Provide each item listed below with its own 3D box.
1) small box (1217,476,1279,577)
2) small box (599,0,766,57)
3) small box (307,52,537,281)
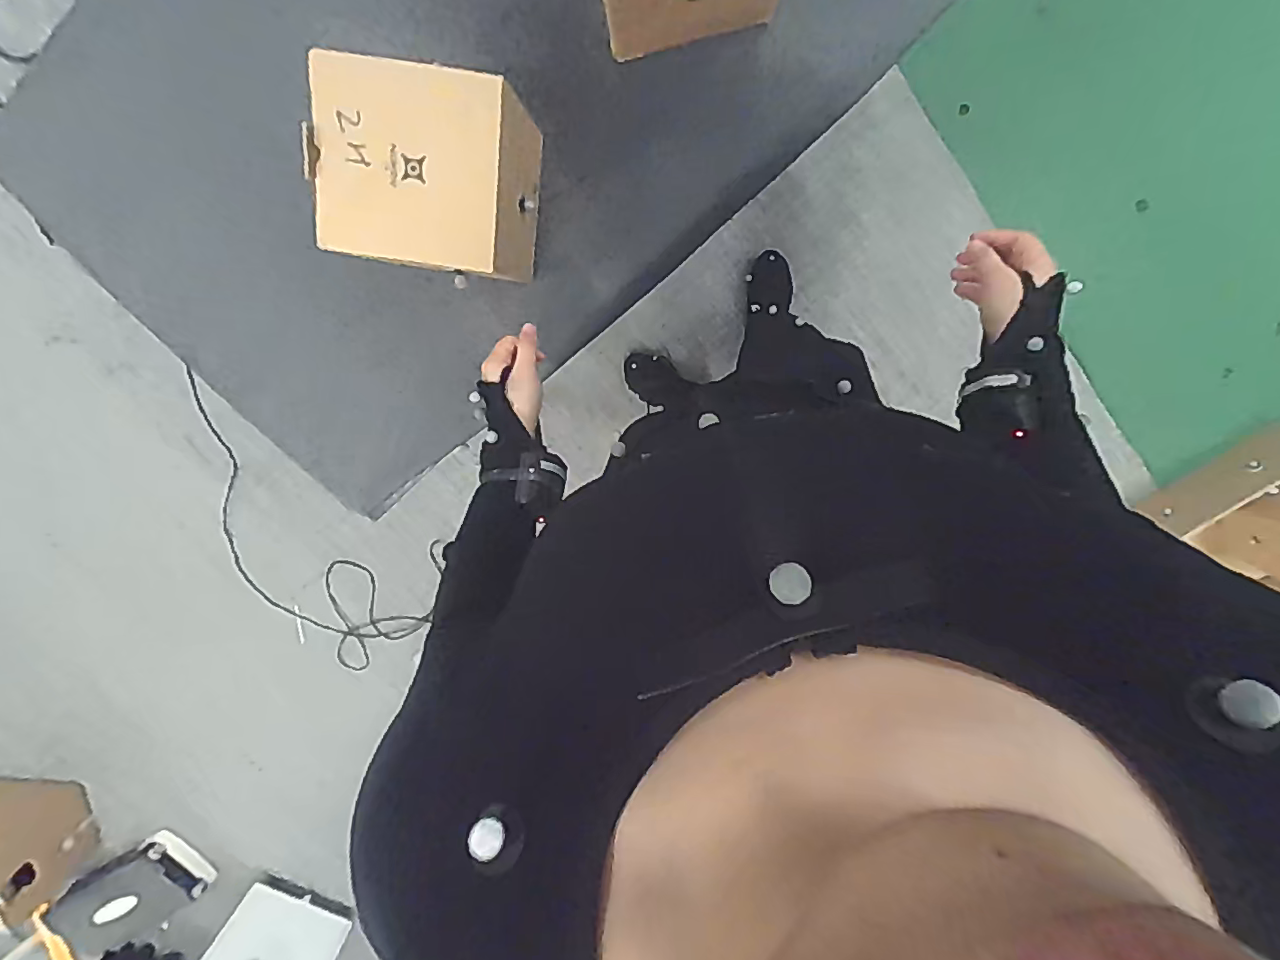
[{"bbox_3d":[1.625,0.114,1.363,0.168,0.176,0.179,-23,106,10],"label":"small box"},{"bbox_3d":[0.035,-0.533,0.493,0.179,0.176,0.168,-11,107,6],"label":"small box"},{"bbox_3d":[-0.214,-0.309,0.573,0.179,0.176,0.168,8,107,0],"label":"small box"}]
